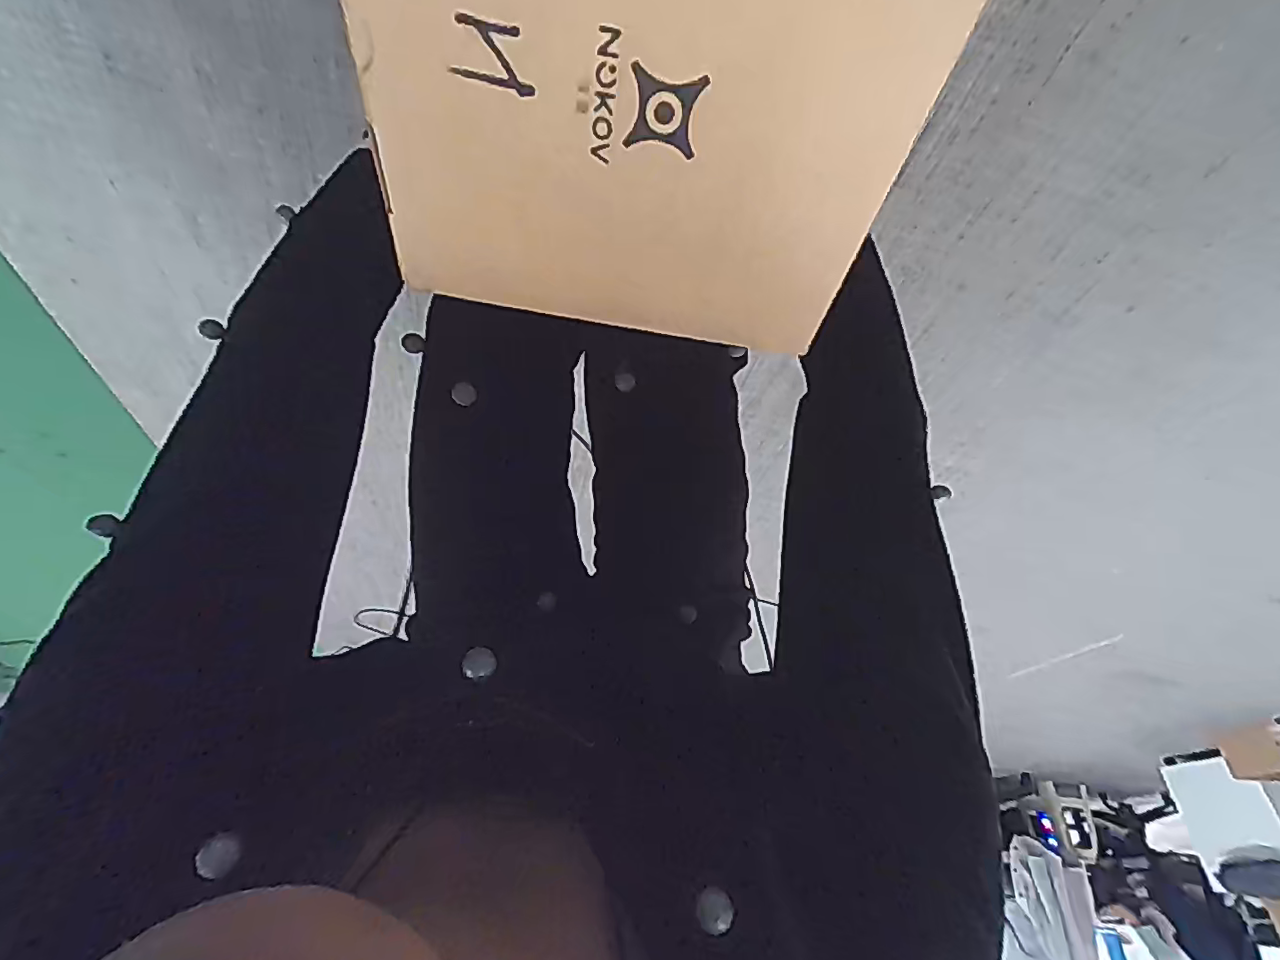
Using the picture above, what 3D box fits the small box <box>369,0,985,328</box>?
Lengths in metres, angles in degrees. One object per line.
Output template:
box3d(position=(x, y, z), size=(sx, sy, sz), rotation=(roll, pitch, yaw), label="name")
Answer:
box3d(position=(0.012, -0.191, 0.214), size=(0.179, 0.176, 0.168), rotation=(10, 143, -4), label="small box")
